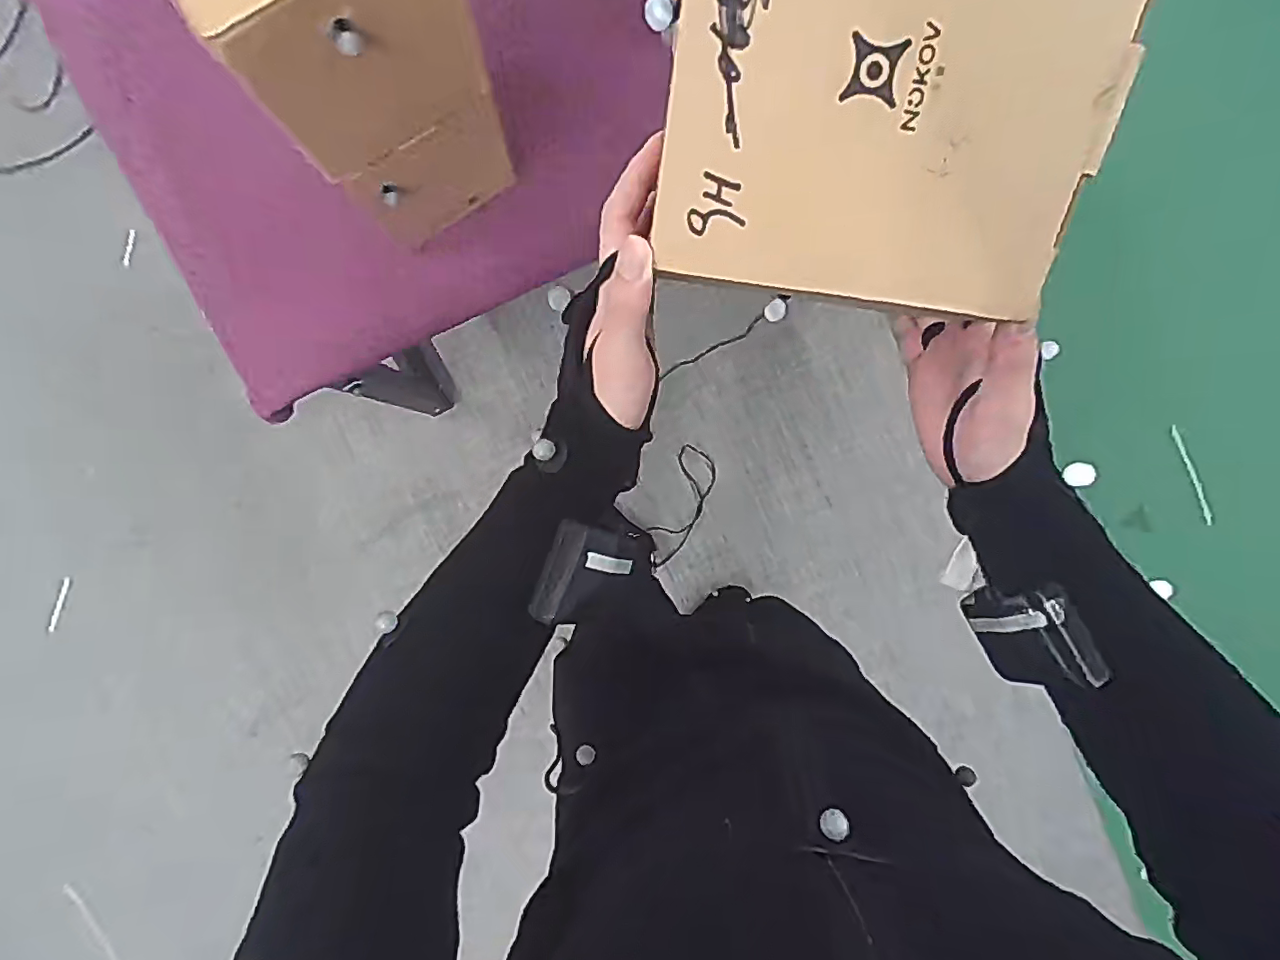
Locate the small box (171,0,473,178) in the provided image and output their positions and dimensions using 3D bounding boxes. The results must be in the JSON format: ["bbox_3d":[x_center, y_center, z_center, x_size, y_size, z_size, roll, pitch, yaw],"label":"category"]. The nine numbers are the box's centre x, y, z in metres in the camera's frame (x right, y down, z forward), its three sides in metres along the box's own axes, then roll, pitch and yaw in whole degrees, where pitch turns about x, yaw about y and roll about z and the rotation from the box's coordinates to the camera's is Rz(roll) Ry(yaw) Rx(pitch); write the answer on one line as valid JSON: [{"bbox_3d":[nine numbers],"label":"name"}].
[{"bbox_3d":[-0.250,-0.383,0.418,0.179,0.176,0.168,-33,93,-2],"label":"small box"}]

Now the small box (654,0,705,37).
[{"bbox_3d":[0.092,-0.645,0.596,0.179,0.176,0.168,-19,94,-4],"label":"small box"}]

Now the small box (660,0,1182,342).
[{"bbox_3d":[0.111,-0.177,0.288,0.179,0.176,0.168,9,109,-2],"label":"small box"}]
